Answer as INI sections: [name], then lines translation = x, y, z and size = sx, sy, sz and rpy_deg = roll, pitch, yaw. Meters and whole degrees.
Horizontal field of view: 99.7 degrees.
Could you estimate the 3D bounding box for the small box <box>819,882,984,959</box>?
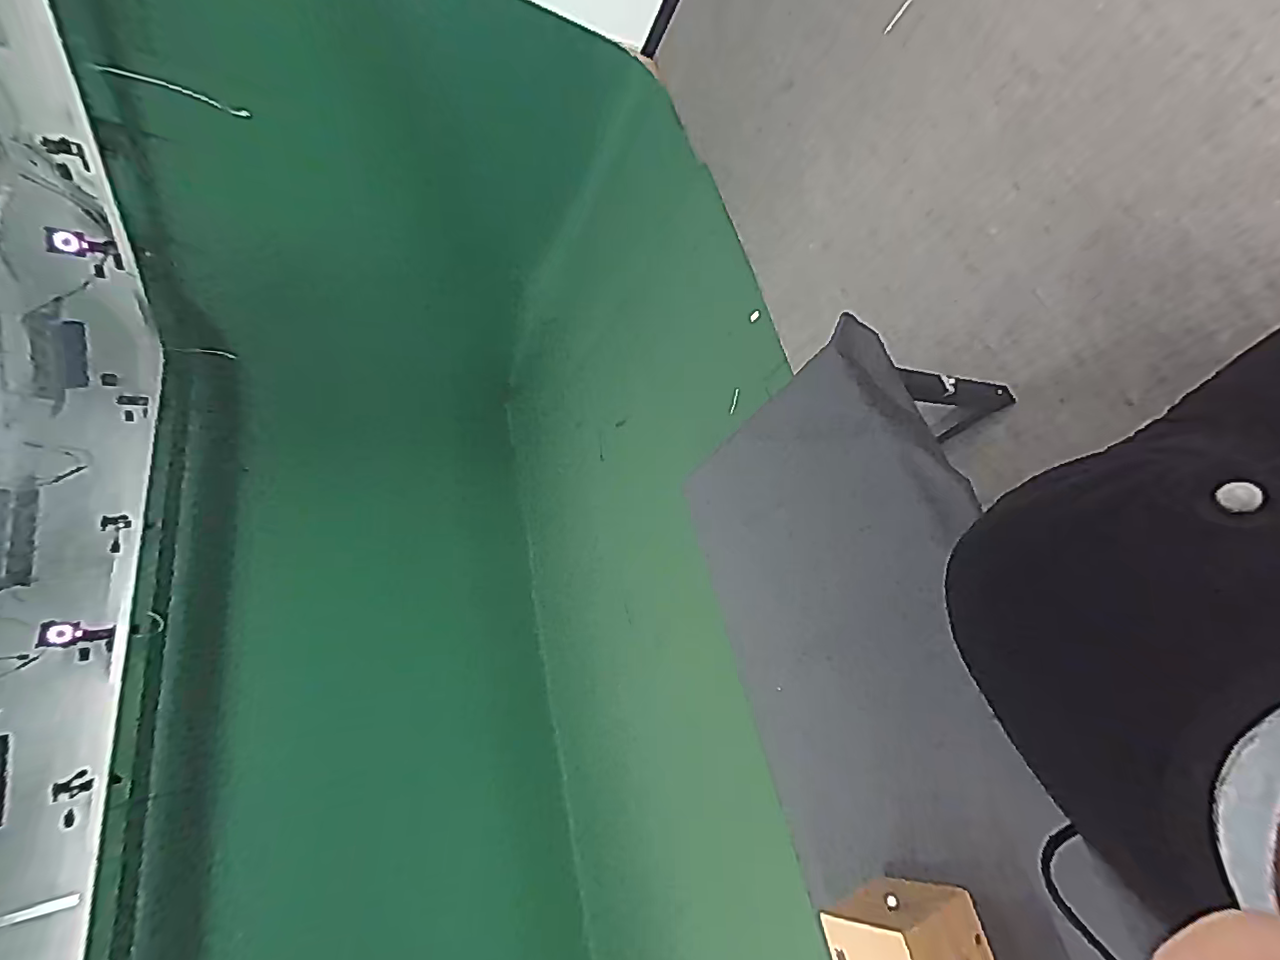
[small box]
translation = 0.426, 0.766, 0.852
size = 0.179, 0.176, 0.168
rpy_deg = -43, 53, 49
